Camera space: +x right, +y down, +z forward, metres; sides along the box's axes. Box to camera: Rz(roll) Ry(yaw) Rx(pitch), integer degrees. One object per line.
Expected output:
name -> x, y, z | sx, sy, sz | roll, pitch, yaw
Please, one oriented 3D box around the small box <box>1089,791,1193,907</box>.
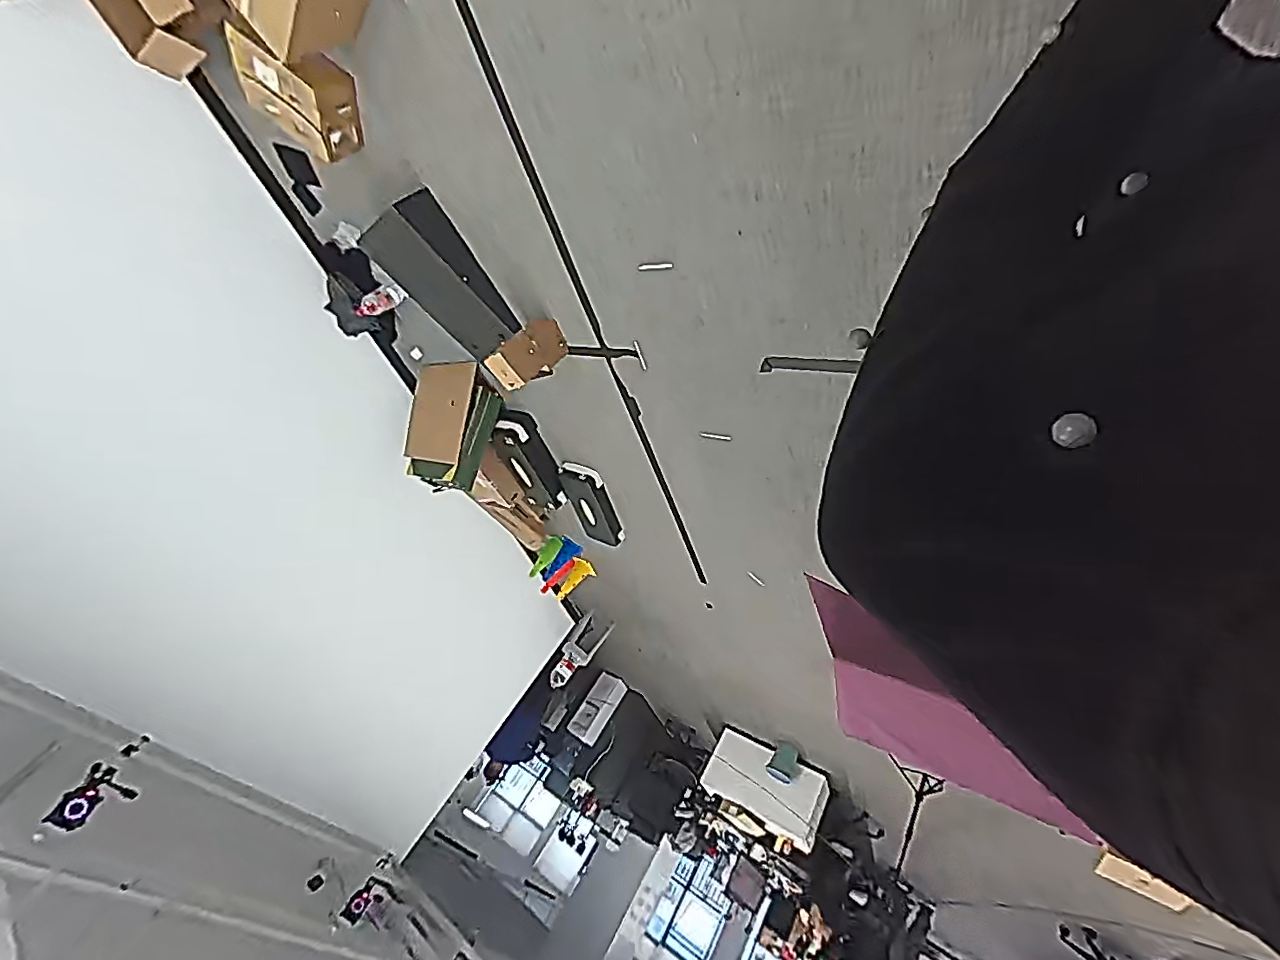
small box -> 1.276, 0.936, 1.383 | 0.168, 0.176, 0.179 | 12, 141, 37
